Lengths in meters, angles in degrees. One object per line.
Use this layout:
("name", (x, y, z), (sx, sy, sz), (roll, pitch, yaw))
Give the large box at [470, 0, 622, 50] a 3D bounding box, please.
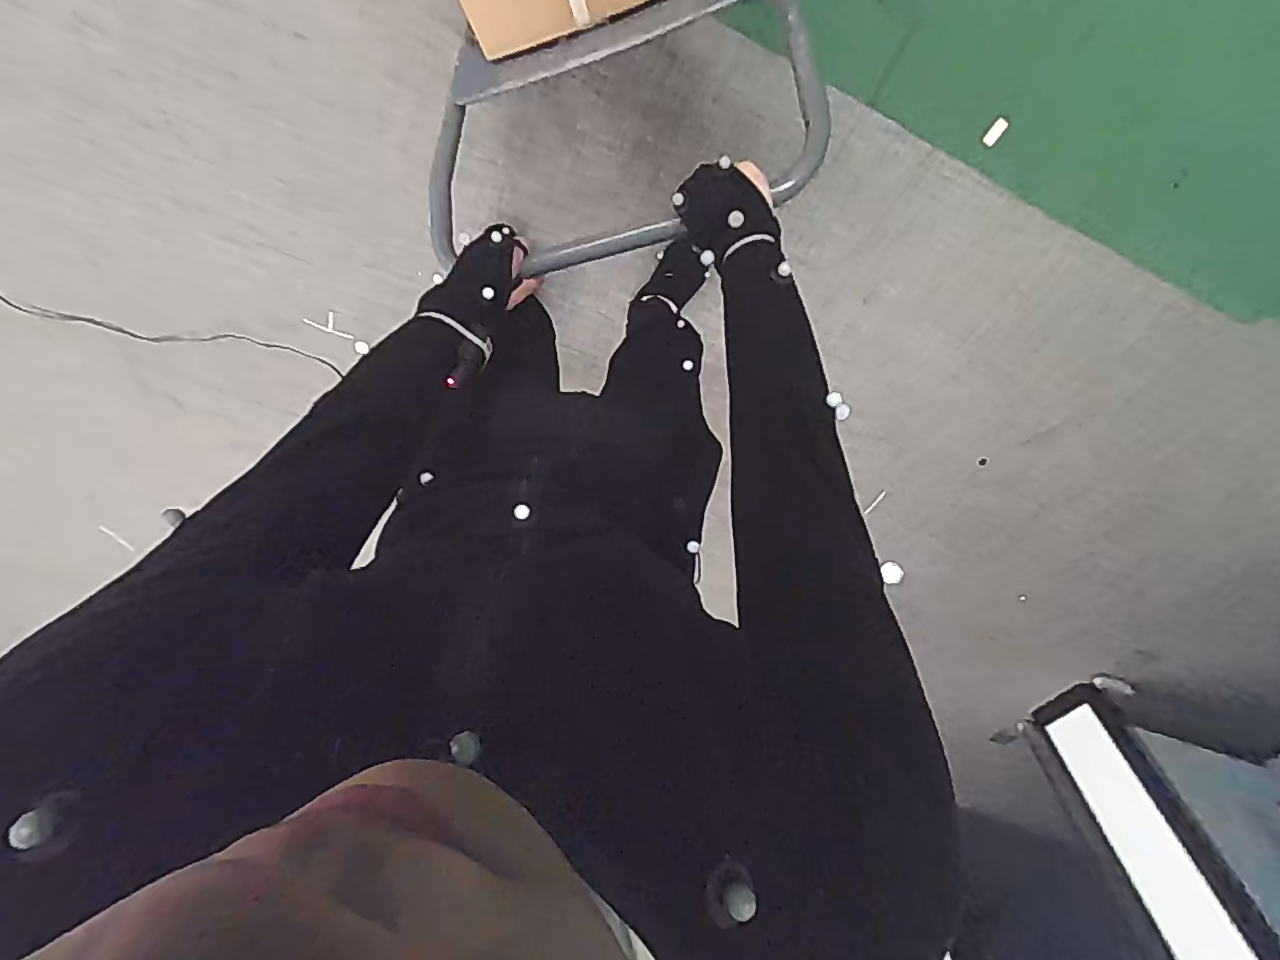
("large box", (-0.133, -0.890, 0.688), (0.320, 0.320, 0.408), (-9, 148, 15))
